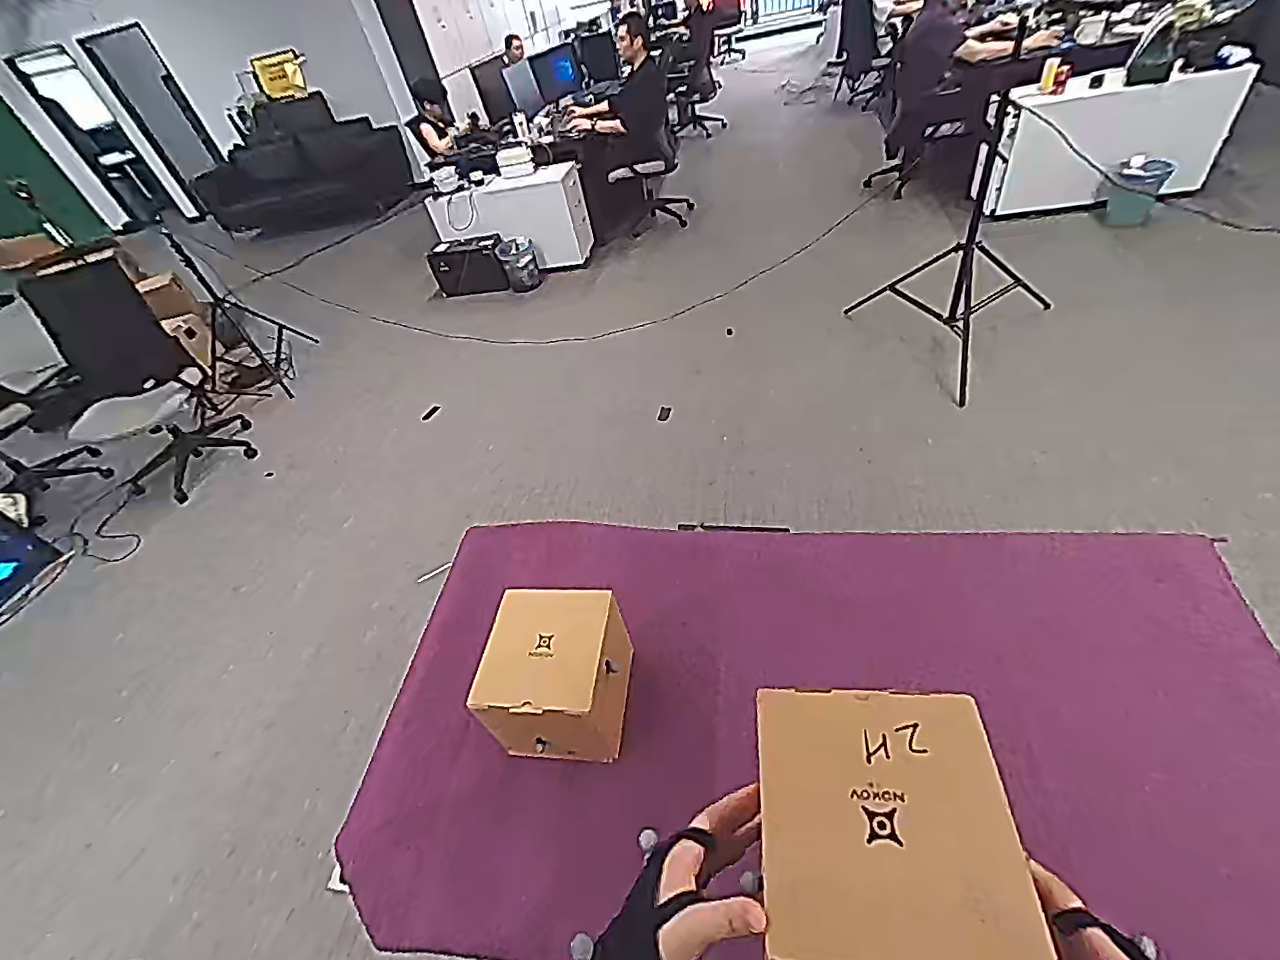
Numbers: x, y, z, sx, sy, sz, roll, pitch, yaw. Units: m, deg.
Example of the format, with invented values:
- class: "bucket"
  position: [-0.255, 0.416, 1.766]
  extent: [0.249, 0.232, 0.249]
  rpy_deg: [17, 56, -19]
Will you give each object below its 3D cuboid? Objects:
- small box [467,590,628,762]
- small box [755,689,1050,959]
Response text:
- class: "small box"
  position: [-0.117, 0.279, 0.778]
  extent: [0.168, 0.176, 0.179]
  rpy_deg: [-2, 46, 12]
- class: "small box"
  position: [0.180, 0.288, 0.427]
  extent: [0.168, 0.176, 0.179]
  rpy_deg: [-3, 43, 13]
